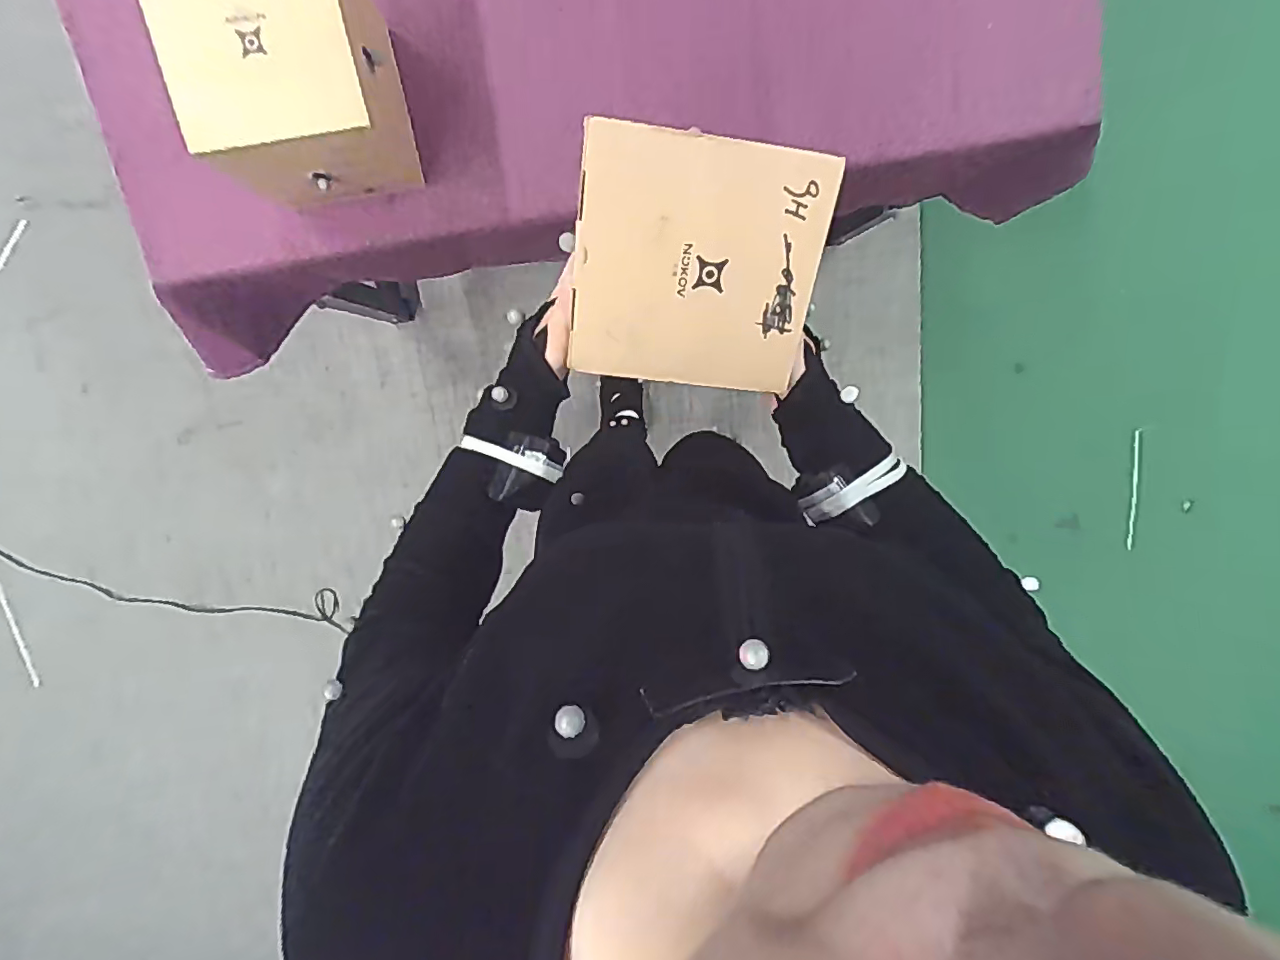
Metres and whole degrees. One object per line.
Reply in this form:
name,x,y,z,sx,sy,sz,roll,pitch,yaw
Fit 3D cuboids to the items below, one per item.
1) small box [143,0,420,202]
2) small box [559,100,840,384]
small box,-0.348,-0.406,0.557,0.168,0.176,0.179,-11,101,-3
small box,0.033,-0.193,0.454,0.179,0.176,0.168,6,116,-6
